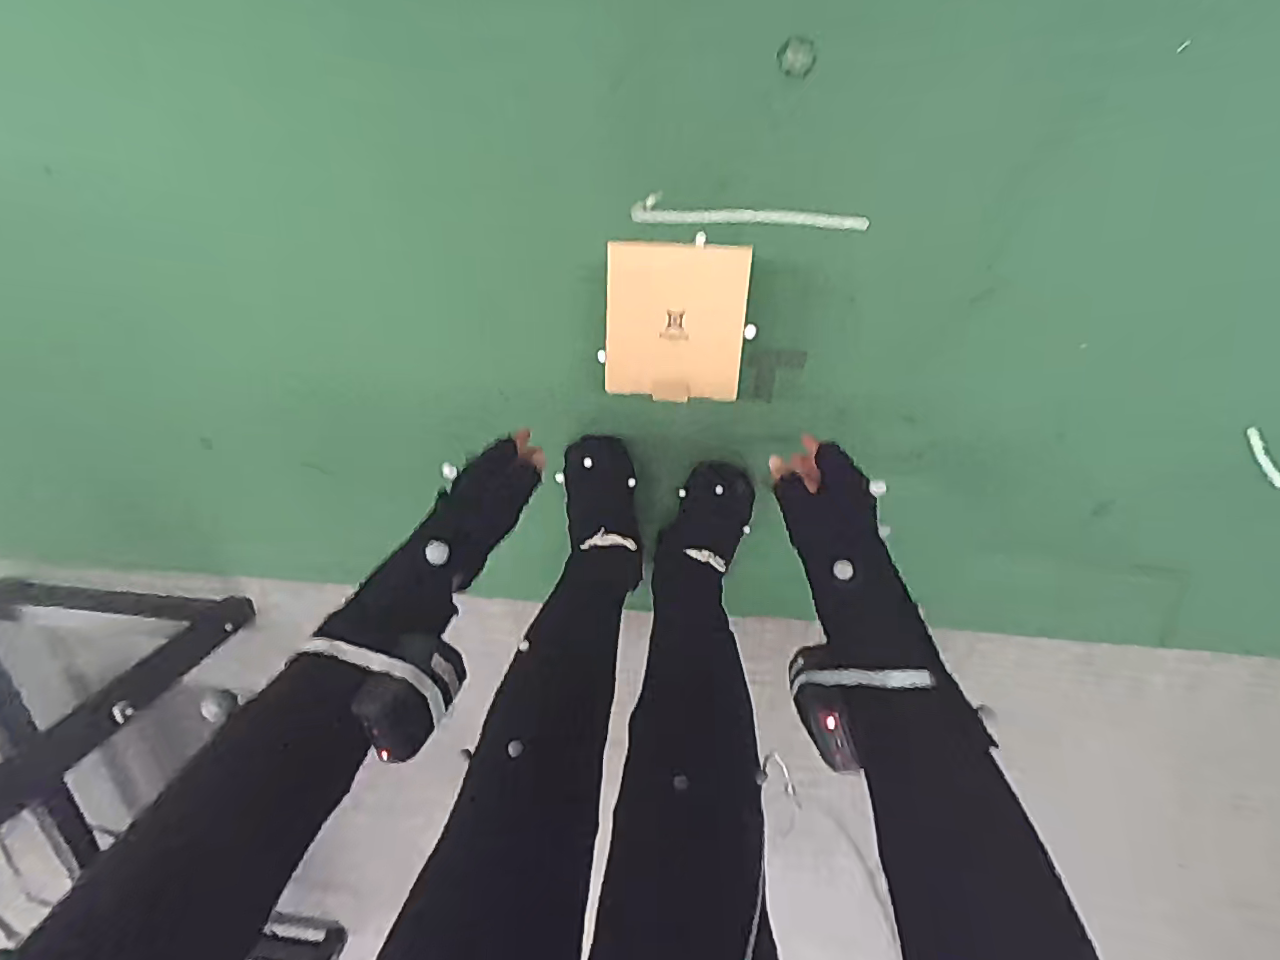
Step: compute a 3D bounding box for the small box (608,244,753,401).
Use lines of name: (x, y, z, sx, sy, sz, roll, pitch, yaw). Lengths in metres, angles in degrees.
small box: (0.052, -0.213, 0.719, 0.168, 0.176, 0.179, 4, 113, 6)
